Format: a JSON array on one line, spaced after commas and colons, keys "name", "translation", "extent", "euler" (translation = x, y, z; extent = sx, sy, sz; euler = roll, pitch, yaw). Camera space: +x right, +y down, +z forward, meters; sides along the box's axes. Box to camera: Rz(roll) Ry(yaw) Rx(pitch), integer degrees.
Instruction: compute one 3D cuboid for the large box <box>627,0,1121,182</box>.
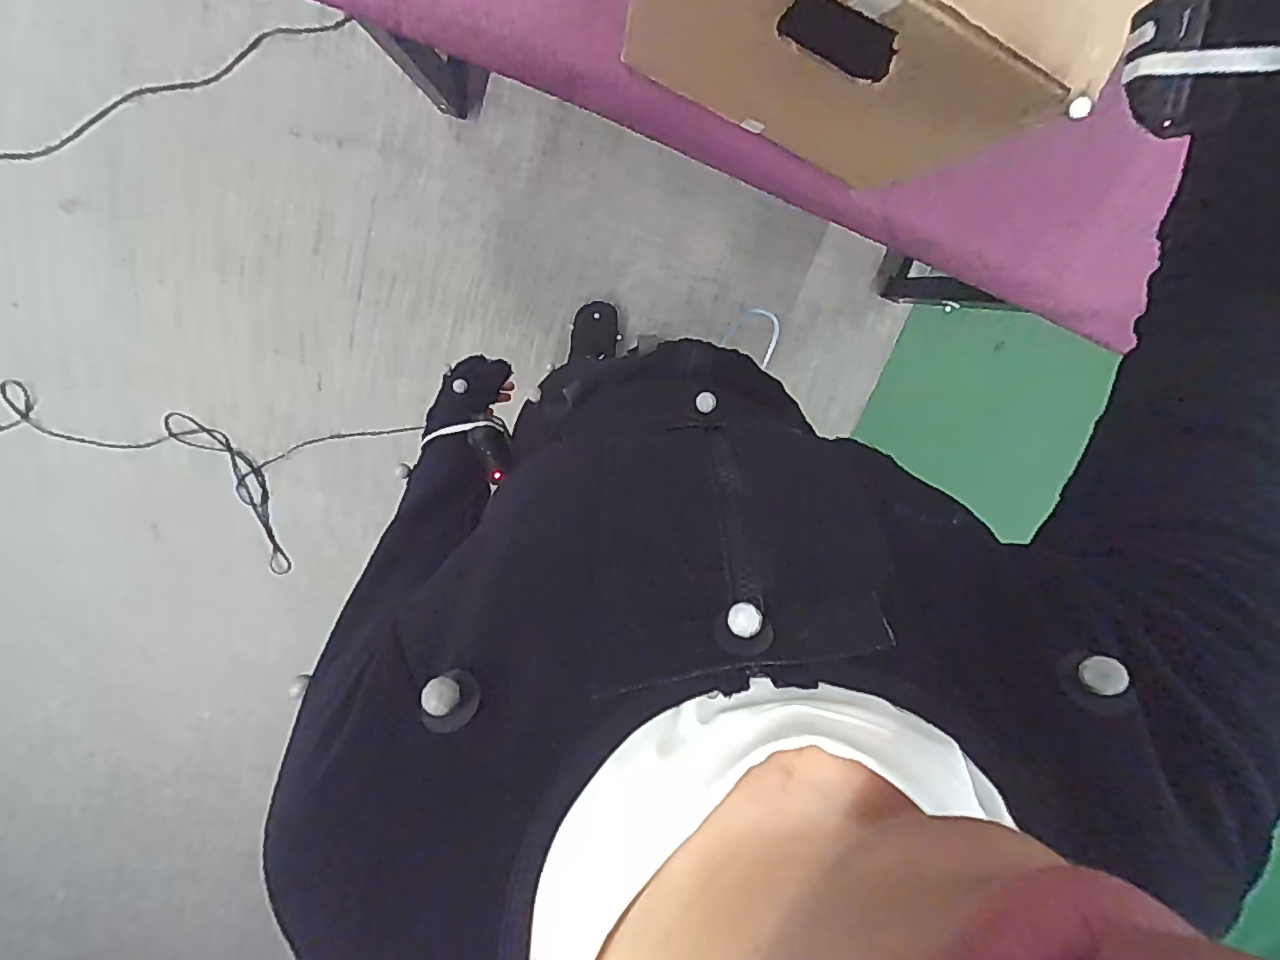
[{"name": "large box", "translation": [0.209, -0.527, 0.424], "extent": [0.320, 0.320, 0.408], "euler": [20, 107, -11]}]
